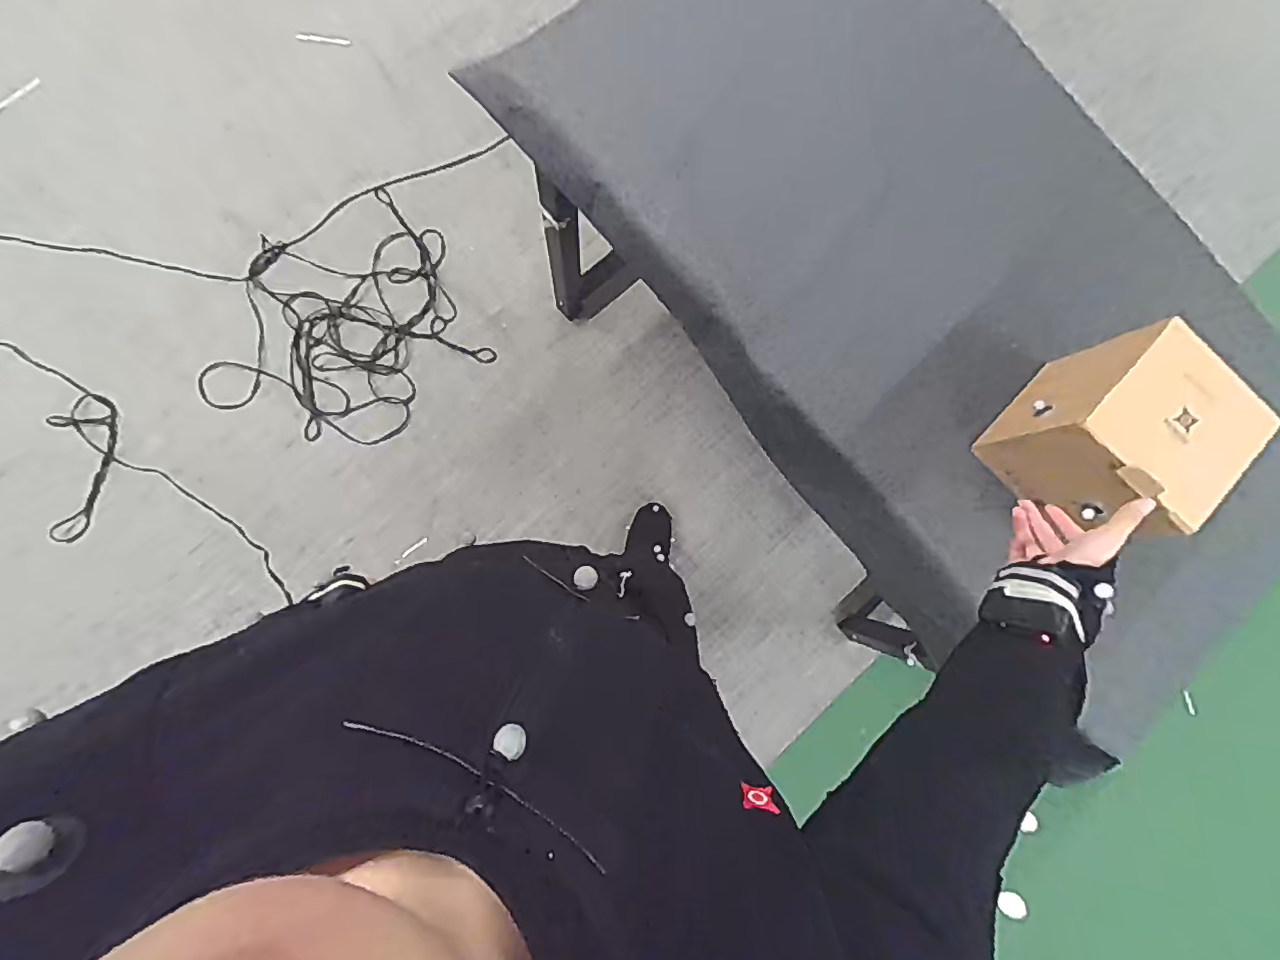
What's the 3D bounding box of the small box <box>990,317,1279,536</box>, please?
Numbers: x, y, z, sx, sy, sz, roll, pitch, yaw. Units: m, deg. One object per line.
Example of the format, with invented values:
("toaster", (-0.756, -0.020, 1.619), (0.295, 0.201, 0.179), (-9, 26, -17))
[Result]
("small box", (0.563, -0.049, 0.639), (0.168, 0.176, 0.179), (45, 81, -1))
